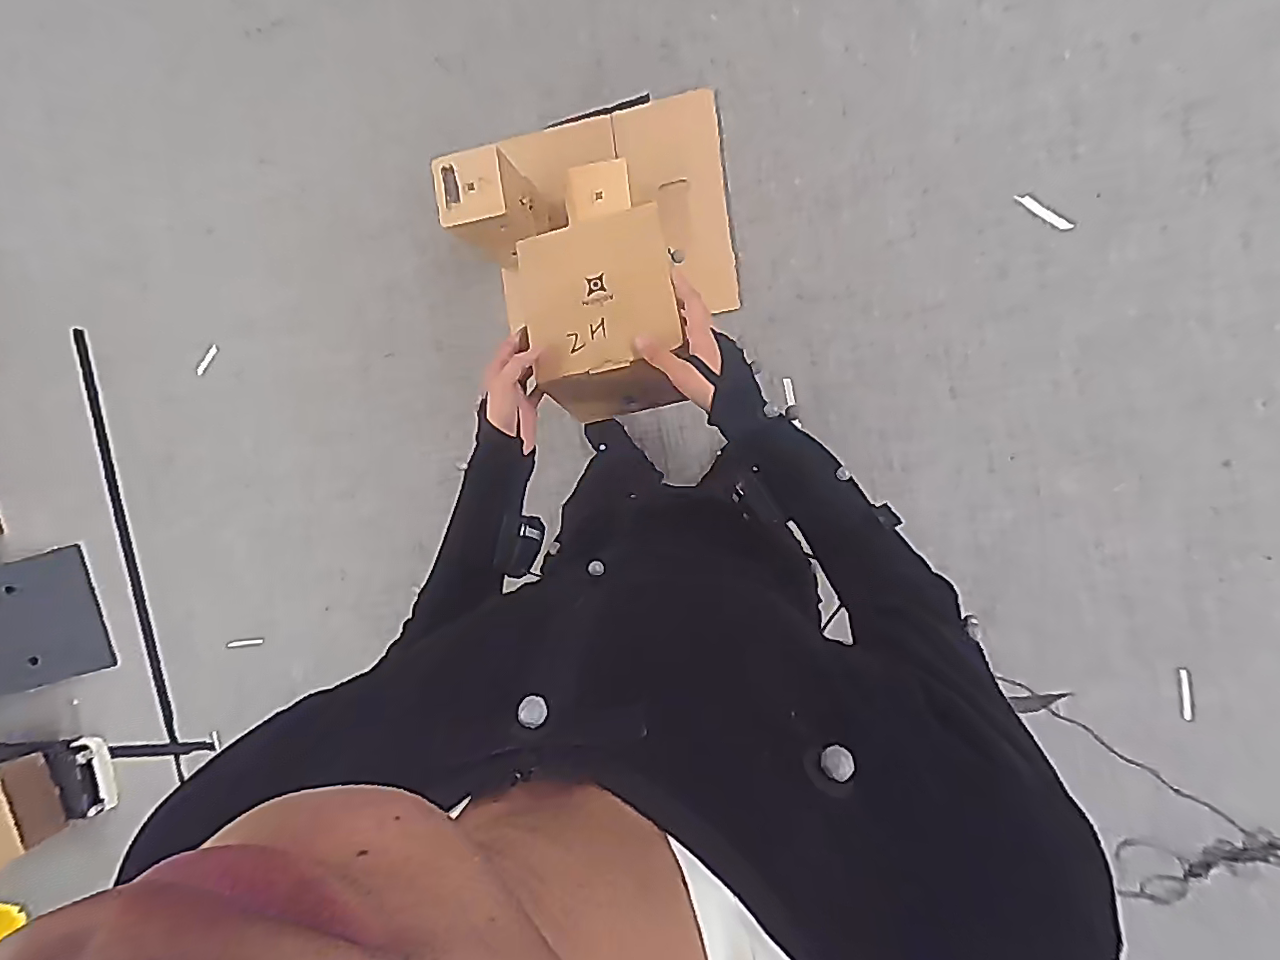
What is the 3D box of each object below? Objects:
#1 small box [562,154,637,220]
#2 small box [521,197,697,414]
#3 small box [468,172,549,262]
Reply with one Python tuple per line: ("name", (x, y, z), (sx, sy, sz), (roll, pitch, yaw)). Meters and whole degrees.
("small box", (-0.100, -0.763, 1.494), (0.179, 0.176, 0.168), (-6, 95, 11))
("small box", (-0.029, -0.197, 0.658), (0.168, 0.176, 0.179), (-11, 80, 10))
("small box", (-0.361, -0.740, 1.540), (0.179, 0.176, 0.168), (-7, 94, 12))
